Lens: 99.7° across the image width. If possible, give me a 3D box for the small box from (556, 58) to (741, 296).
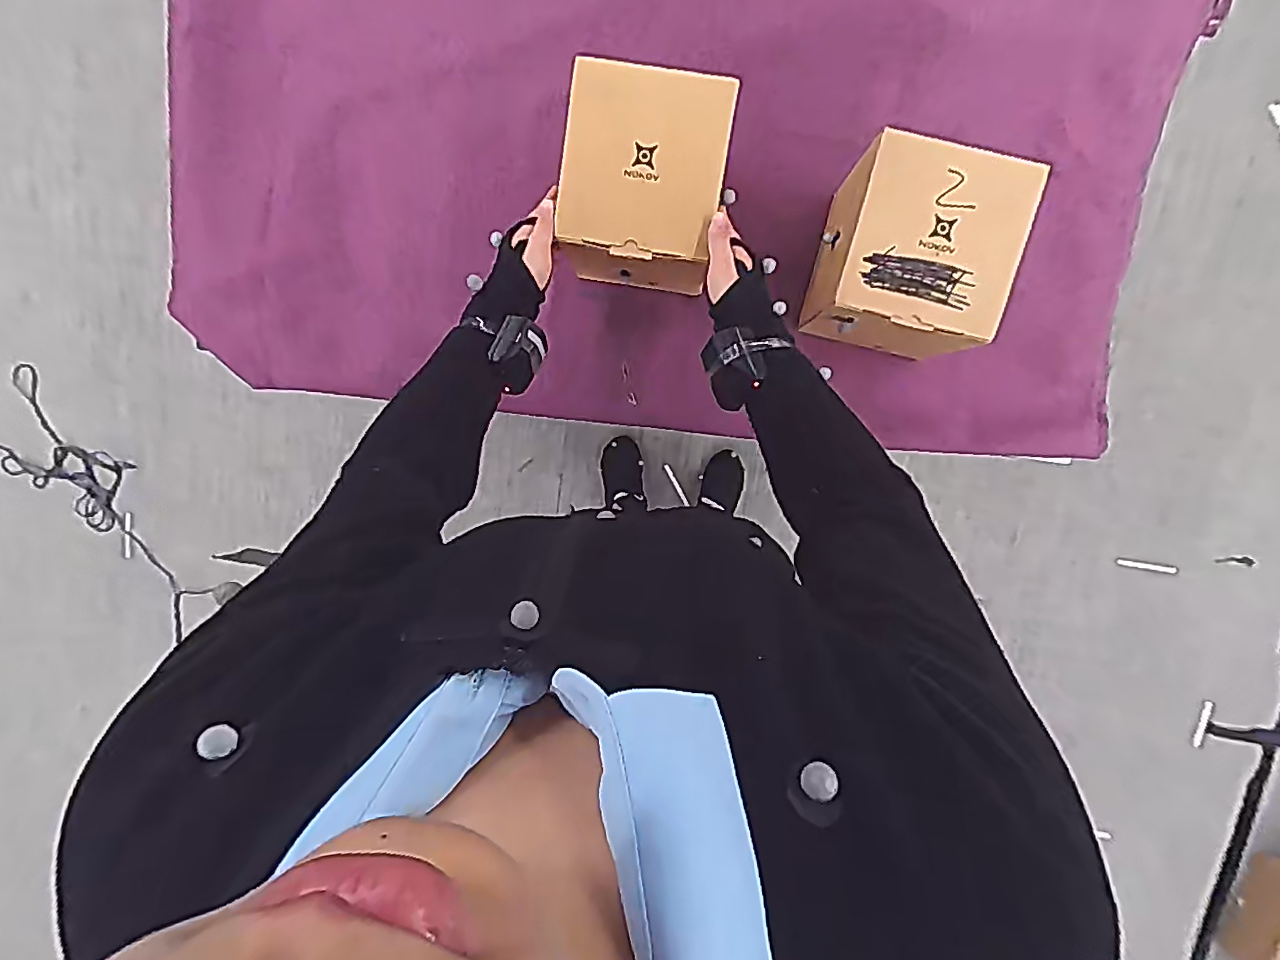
[{"bbox_3d":[0.007,-0.328,0.621,0.168,0.176,0.179,9,98,0],"label":"small box"}]
